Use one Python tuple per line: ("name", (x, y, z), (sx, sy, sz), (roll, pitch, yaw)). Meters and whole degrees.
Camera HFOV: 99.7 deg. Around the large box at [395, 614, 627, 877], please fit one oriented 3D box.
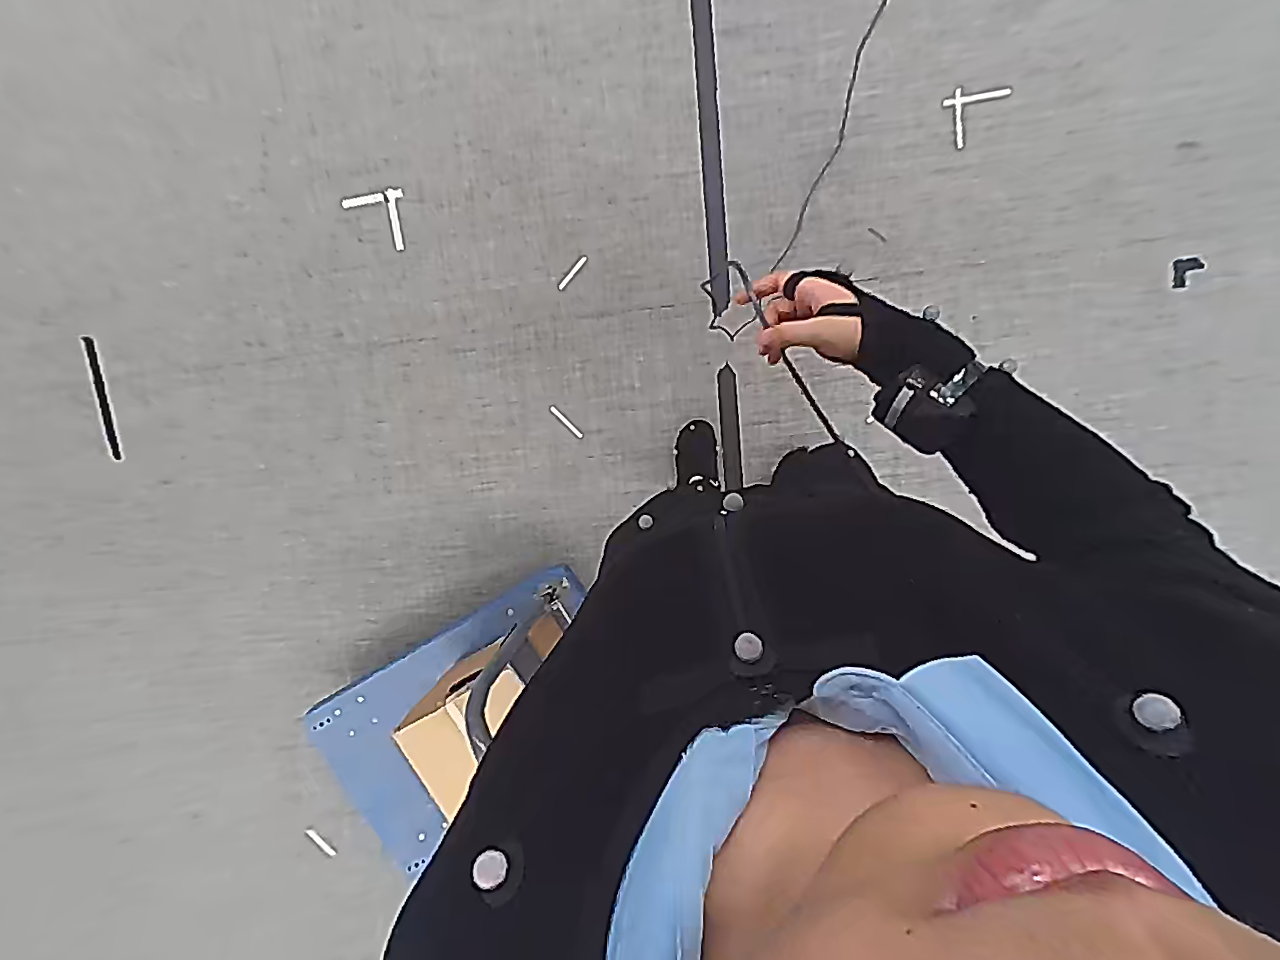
("large box", (-0.276, 0.603, 1.283), (0.320, 0.320, 0.408), (-31, 93, 7))
